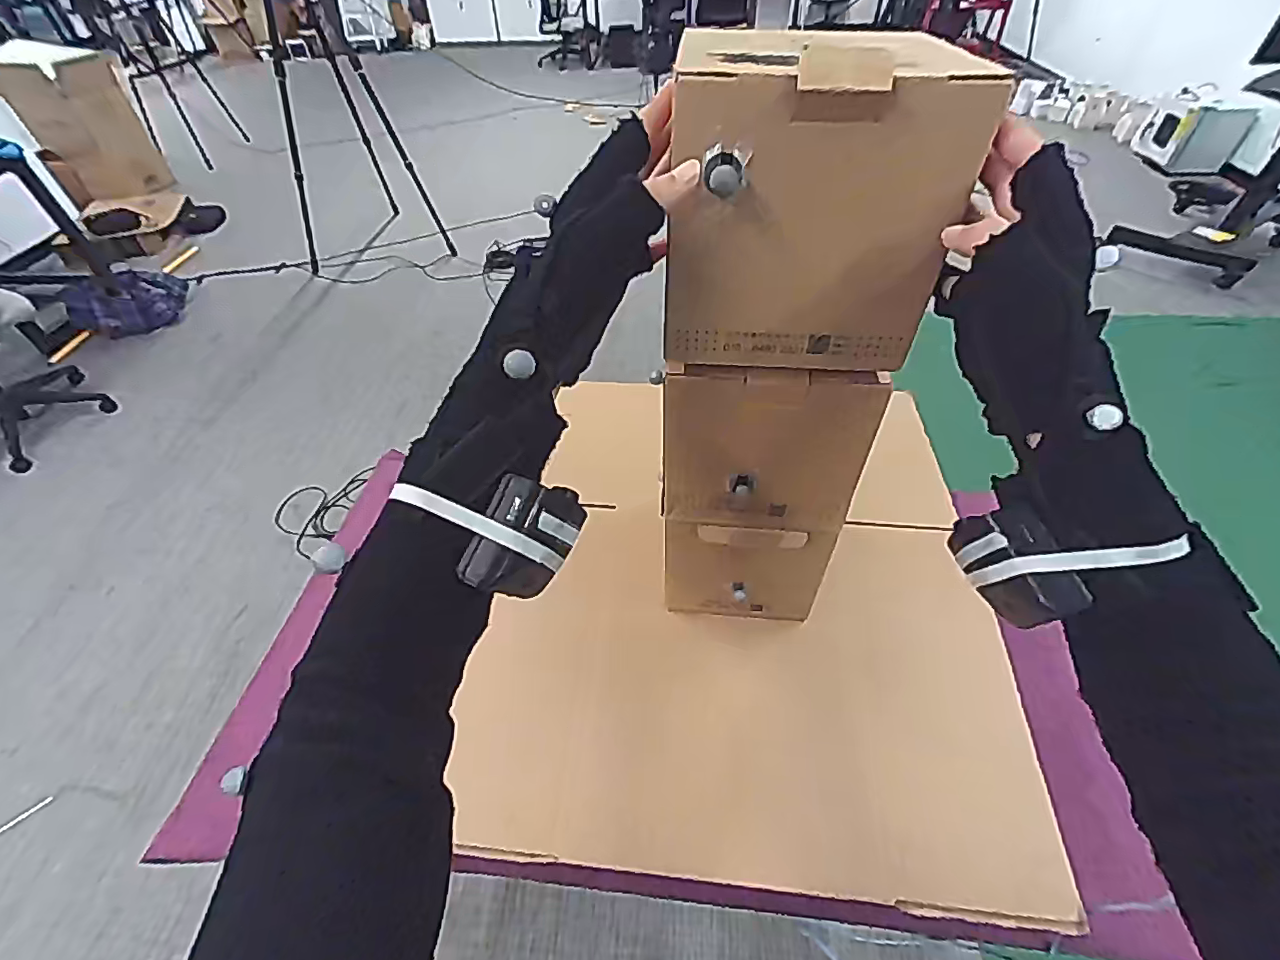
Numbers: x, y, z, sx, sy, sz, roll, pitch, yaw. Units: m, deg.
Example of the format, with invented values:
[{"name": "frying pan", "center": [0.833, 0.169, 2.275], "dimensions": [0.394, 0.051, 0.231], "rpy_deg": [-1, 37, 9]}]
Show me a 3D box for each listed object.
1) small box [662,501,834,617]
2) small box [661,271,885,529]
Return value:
[{"name": "small box", "center": [0.114, 0.036, 0.630], "dimensions": [0.168, 0.176, 0.179], "rpy_deg": [3, 47, 6]}, {"name": "small box", "center": [0.108, -0.077, 0.512], "dimensions": [0.168, 0.176, 0.179], "rpy_deg": [3, 47, 6]}]
